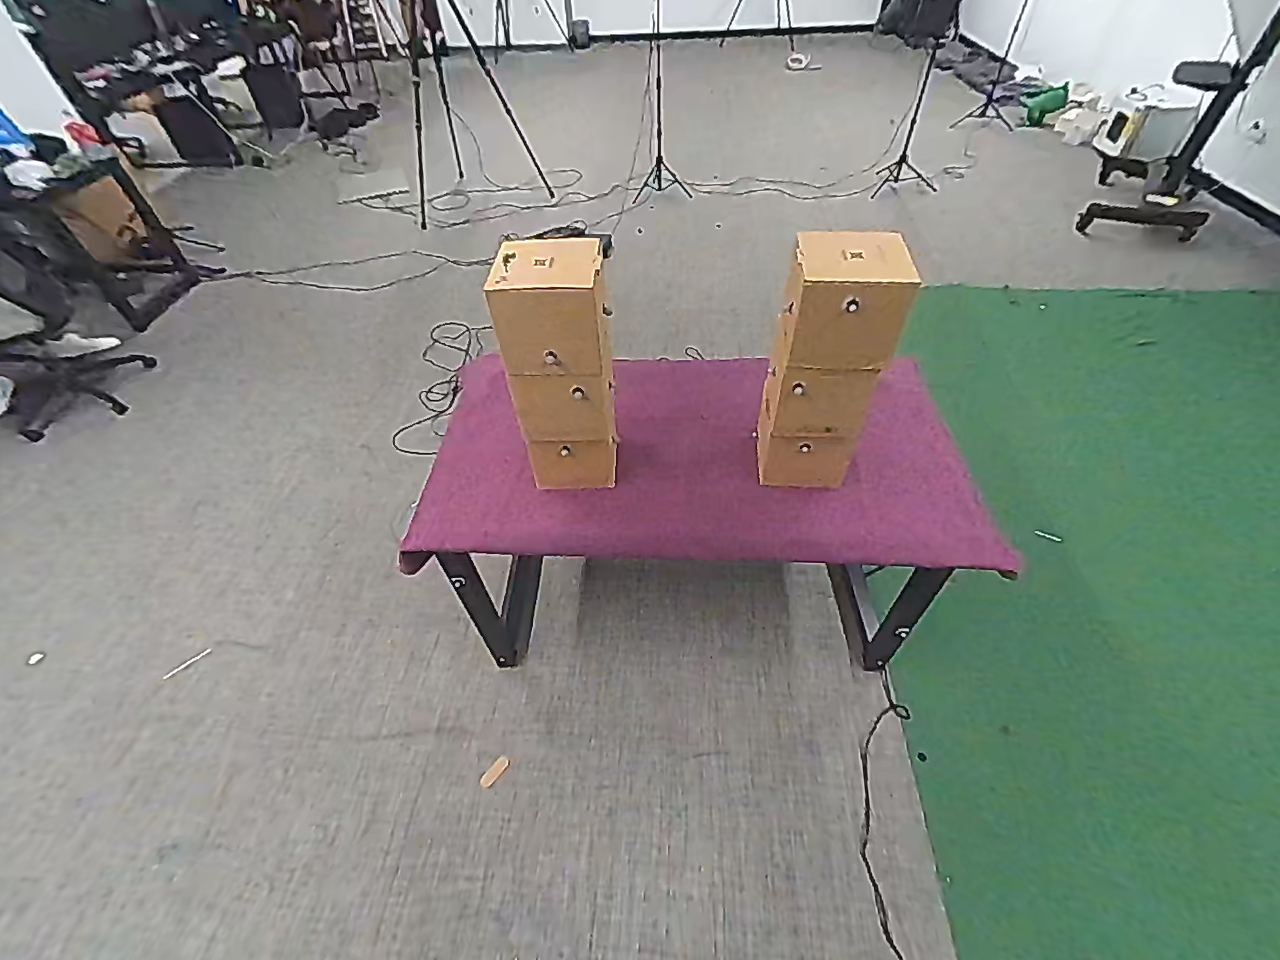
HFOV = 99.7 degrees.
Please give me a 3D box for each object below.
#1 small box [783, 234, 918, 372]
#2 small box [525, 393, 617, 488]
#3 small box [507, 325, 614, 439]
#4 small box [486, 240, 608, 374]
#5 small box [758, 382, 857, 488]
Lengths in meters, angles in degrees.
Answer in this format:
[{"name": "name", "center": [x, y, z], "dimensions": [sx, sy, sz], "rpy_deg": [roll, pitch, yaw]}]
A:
[{"name": "small box", "center": [0.346, -0.301, 0.928], "dimensions": [0.179, 0.176, 0.168], "rpy_deg": [4, 49, 6]}, {"name": "small box", "center": [-0.143, -0.095, 1.206], "dimensions": [0.179, 0.176, 0.168], "rpy_deg": [-1, 49, 2]}, {"name": "small box", "center": [-0.146, -0.193, 1.072], "dimensions": [0.179, 0.176, 0.168], "rpy_deg": [0, 48, 3]}, {"name": "small box", "center": [-0.150, -0.299, 0.947], "dimensions": [0.179, 0.176, 0.168], "rpy_deg": [1, 48, 2]}, {"name": "small box", "center": [0.355, -0.097, 1.185], "dimensions": [0.179, 0.176, 0.168], "rpy_deg": [3, 49, 4]}]
